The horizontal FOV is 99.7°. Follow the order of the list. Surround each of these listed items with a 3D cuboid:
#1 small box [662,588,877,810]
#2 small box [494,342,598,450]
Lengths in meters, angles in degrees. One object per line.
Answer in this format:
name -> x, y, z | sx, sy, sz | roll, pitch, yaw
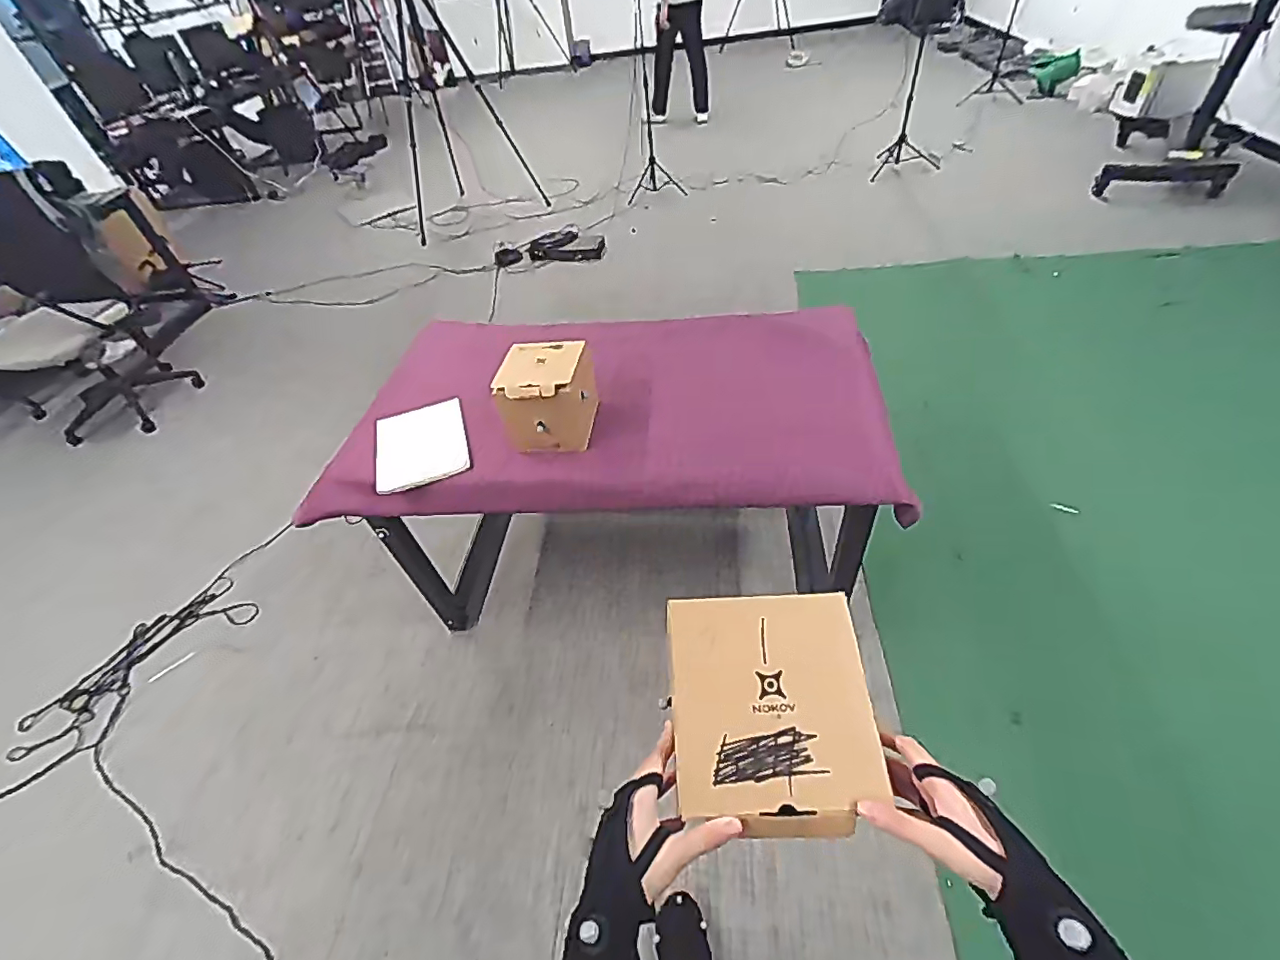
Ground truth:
small box -> 0.107, 0.219, 0.532 | 0.168, 0.176, 0.179 | -2, 59, 1
small box -> -0.193, -0.178, 1.176 | 0.168, 0.176, 0.179 | 1, 47, 8
